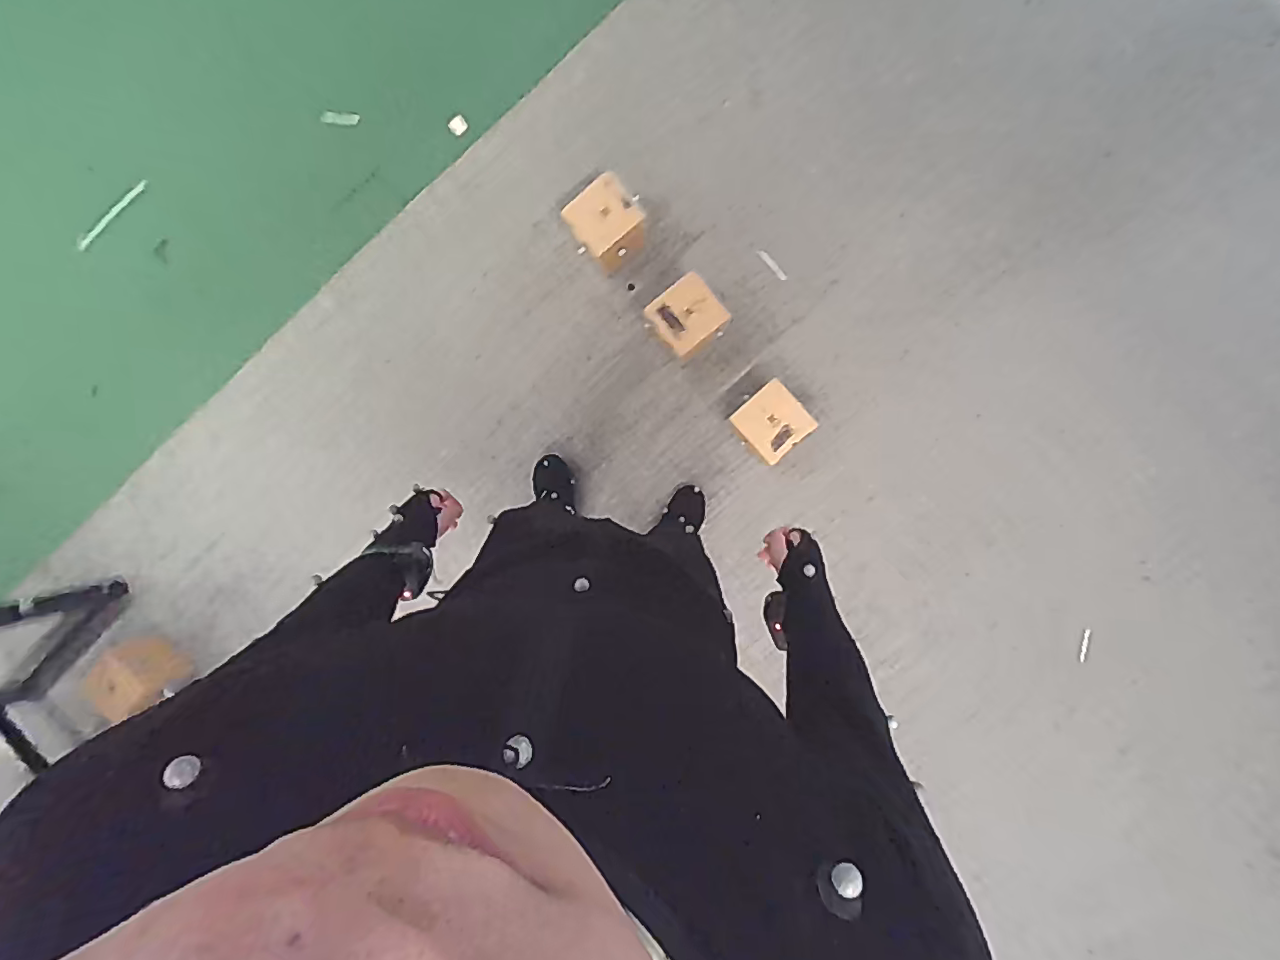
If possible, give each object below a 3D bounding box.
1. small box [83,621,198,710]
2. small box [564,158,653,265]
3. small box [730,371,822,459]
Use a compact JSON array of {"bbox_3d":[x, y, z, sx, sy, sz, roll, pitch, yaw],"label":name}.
[{"bbox_3d":[-1.570,0.578,1.712,0.168,0.176,0.179,-44,89,6],"label":"small box"},{"bbox_3d":[-0.079,-0.736,1.507,0.179,0.176,0.168,-39,89,6],"label":"small box"},{"bbox_3d":[0.369,-0.176,1.495,0.168,0.176,0.179,-41,88,6],"label":"small box"}]
